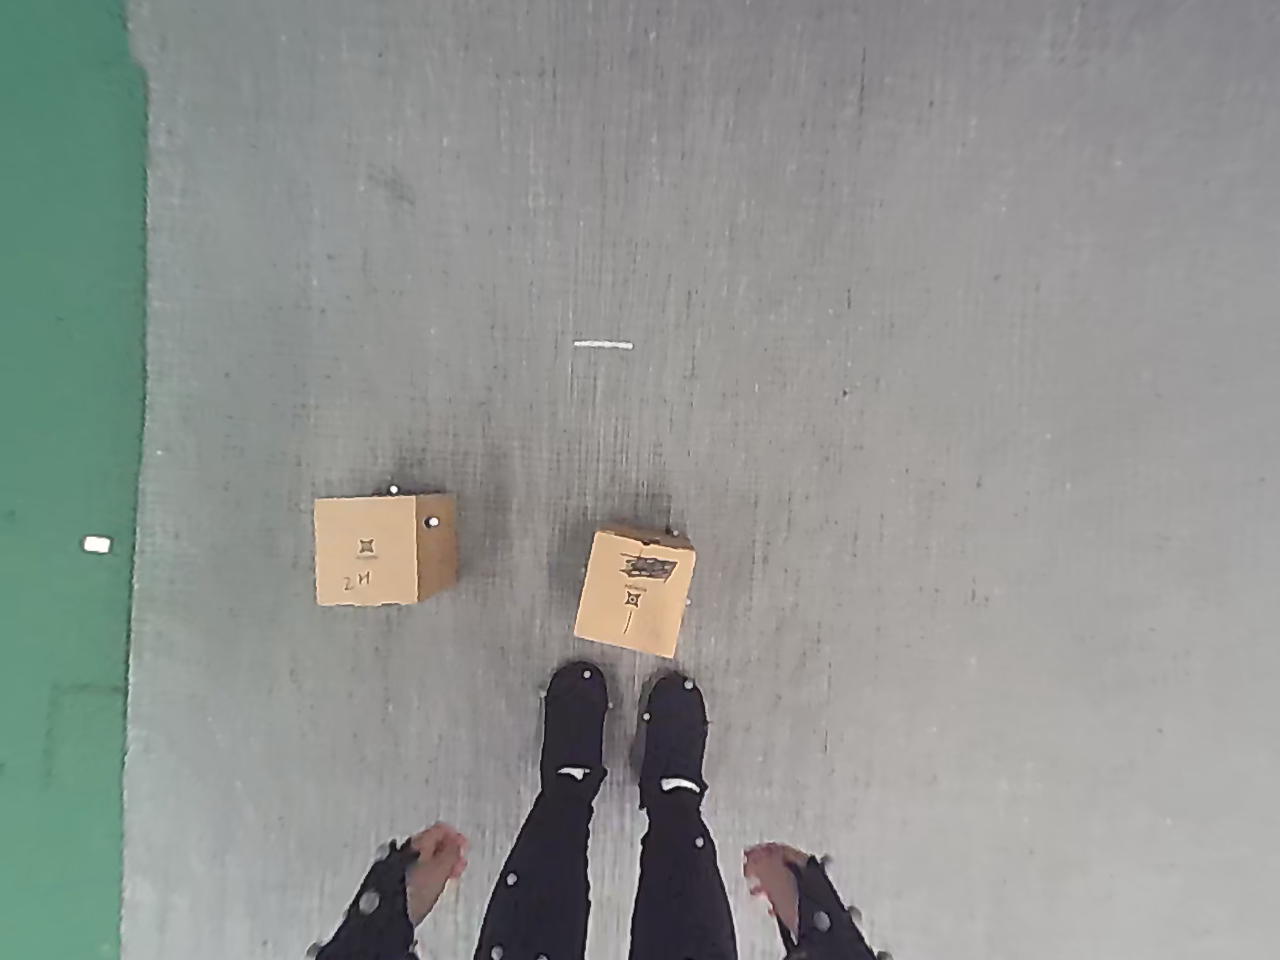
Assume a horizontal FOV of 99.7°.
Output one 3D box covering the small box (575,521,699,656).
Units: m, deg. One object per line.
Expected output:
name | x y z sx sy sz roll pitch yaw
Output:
small box | -0.004 0.173 0.924 0.168 0.176 0.179 13 91 1

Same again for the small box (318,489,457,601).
small box | -0.427 0.104 0.934 0.168 0.176 0.179 -1 90 1
